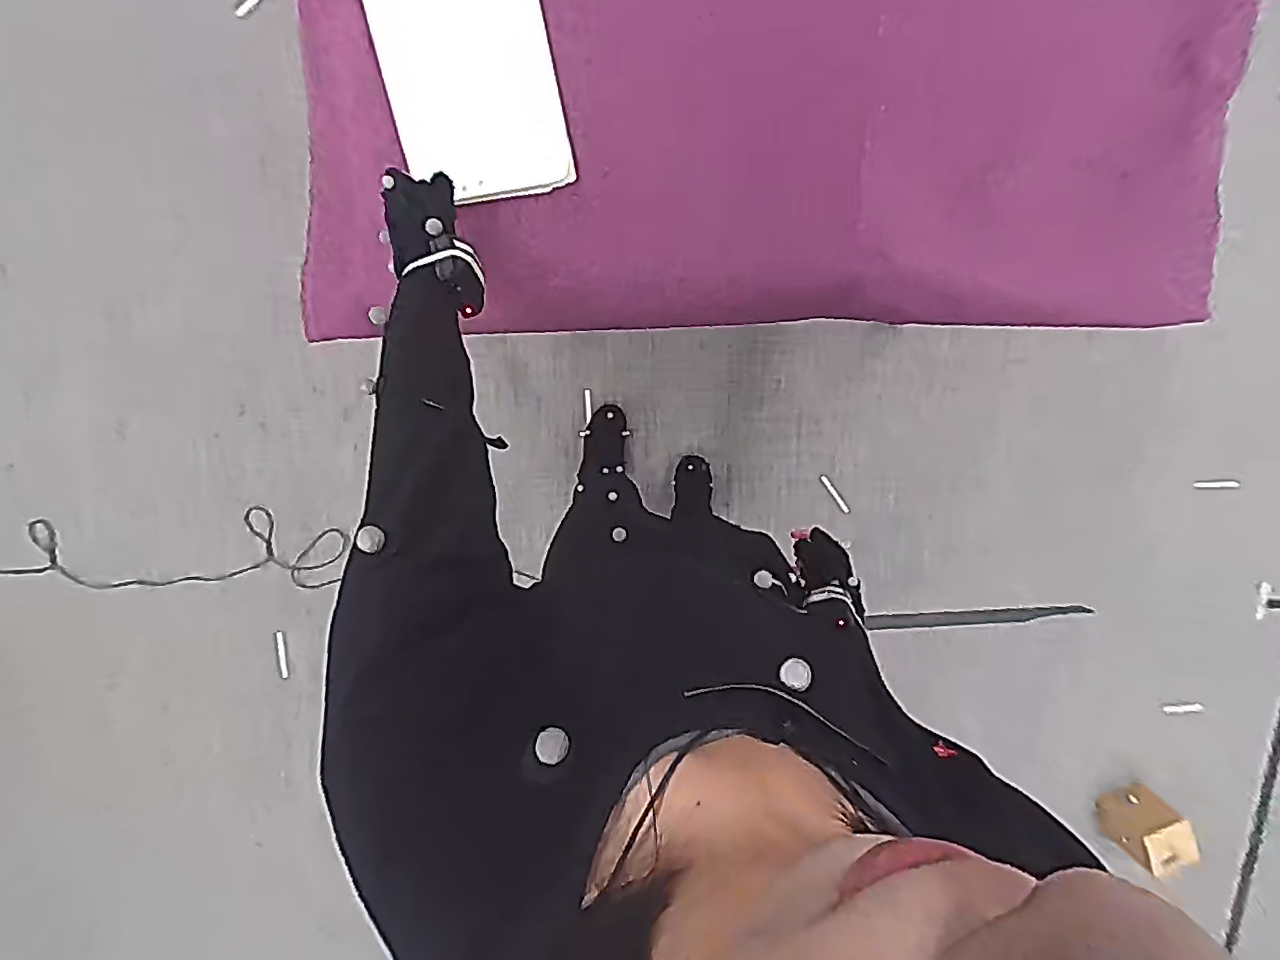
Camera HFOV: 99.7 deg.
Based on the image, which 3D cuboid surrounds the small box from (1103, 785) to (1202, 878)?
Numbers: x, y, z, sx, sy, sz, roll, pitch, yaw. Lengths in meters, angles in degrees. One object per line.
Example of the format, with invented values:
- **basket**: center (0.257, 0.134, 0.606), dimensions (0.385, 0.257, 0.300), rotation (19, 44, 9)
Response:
- **small box**: center (1.747, 1.196, 1.850), dimensions (0.168, 0.176, 0.179), rotation (-24, 101, -2)
